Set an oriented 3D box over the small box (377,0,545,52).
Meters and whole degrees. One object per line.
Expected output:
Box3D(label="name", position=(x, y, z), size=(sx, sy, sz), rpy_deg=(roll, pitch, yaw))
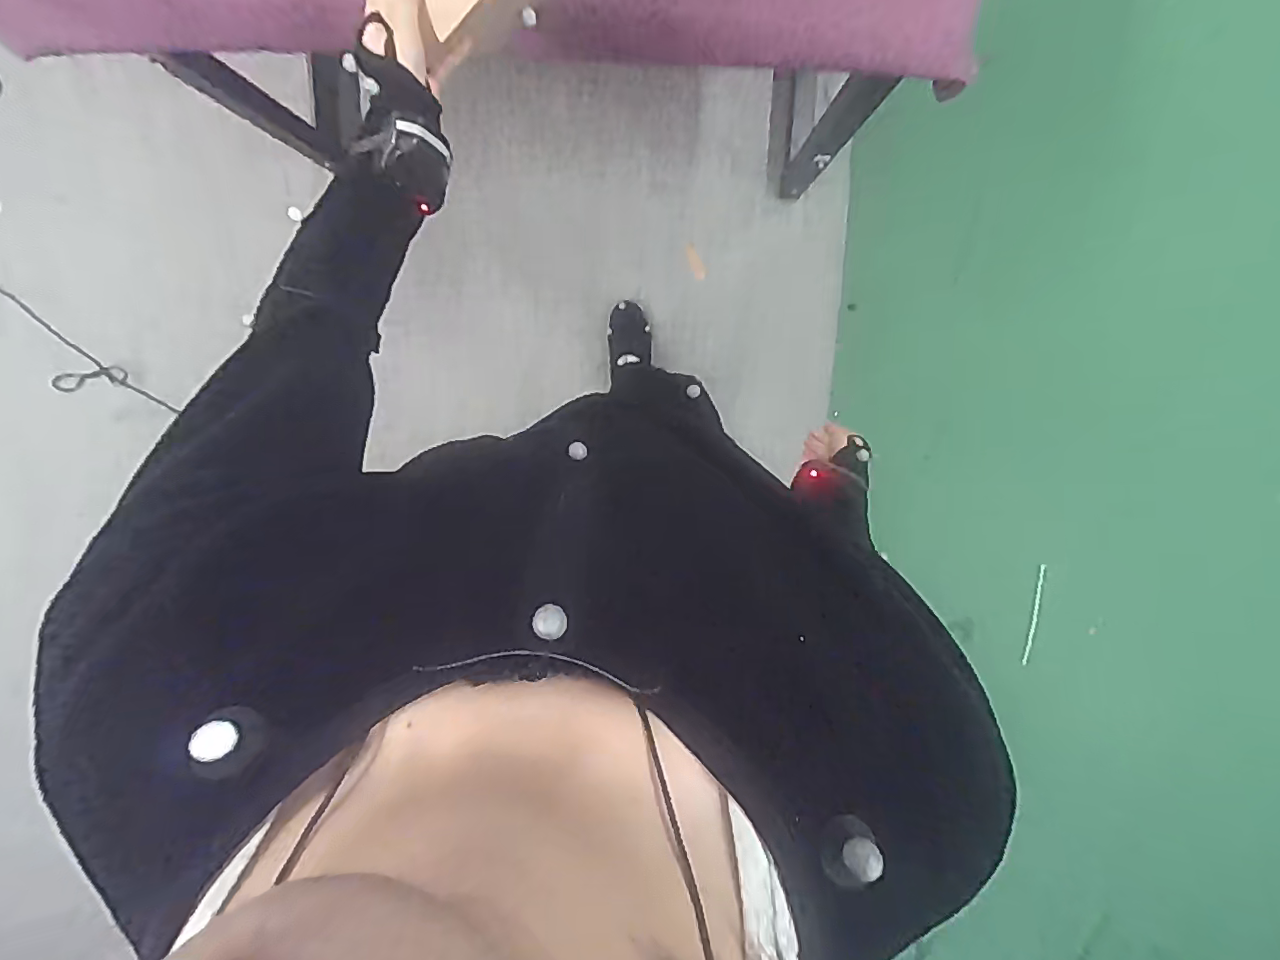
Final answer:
Box3D(label="small box", position=(-0.165, -0.527, 0.481), size=(0.168, 0.176, 0.179), rpy_deg=(-17, 123, 31))
